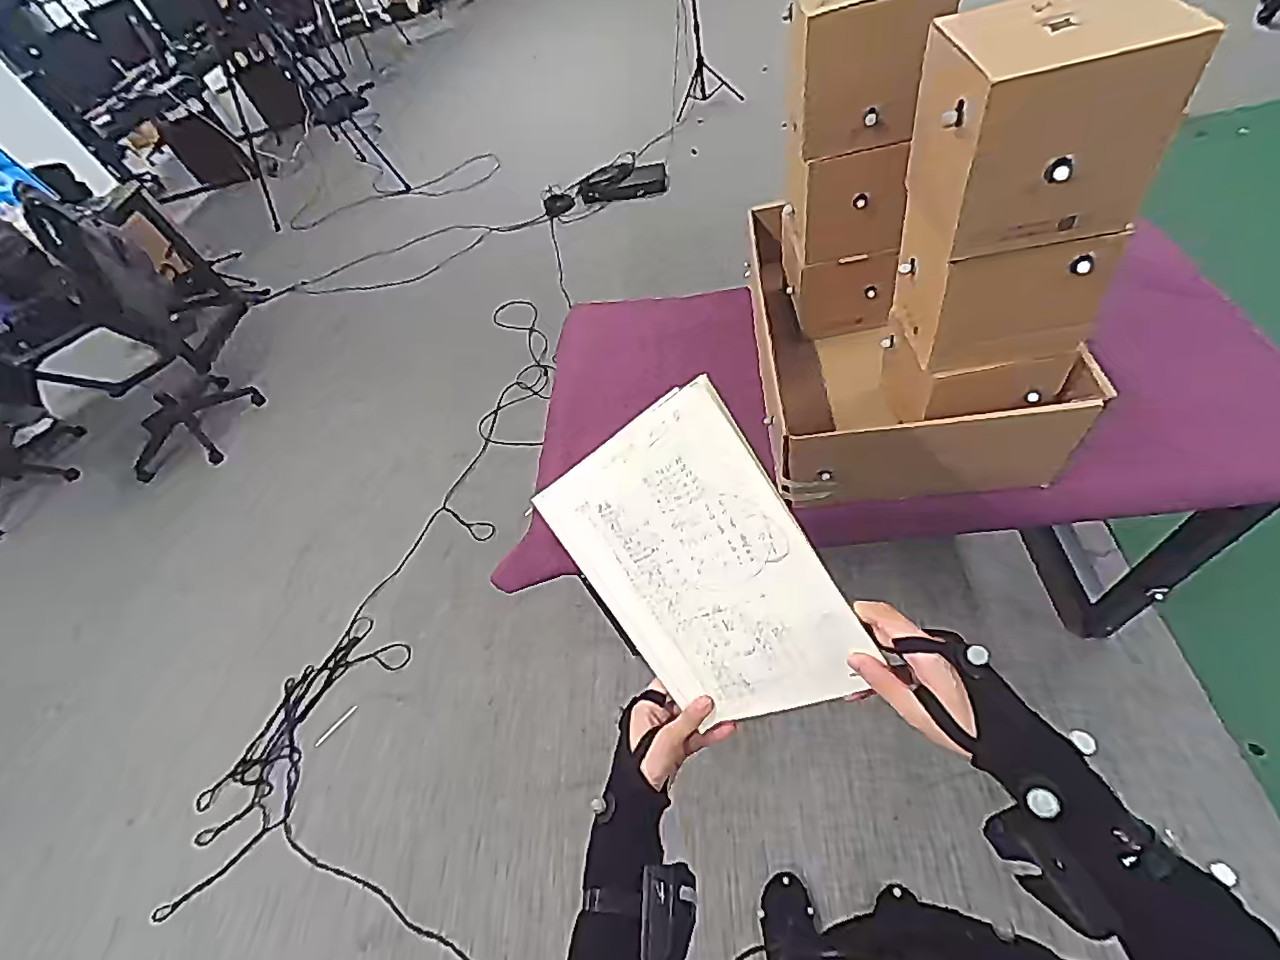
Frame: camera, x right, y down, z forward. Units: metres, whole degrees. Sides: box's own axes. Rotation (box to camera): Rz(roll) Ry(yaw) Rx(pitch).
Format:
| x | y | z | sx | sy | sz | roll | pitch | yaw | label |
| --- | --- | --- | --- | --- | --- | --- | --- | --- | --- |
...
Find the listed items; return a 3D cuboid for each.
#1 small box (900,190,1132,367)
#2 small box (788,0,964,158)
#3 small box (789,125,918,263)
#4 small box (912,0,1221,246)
| x | y | z | sx | sy | sz | roll | pitch | yaw | label |
| --- | --- | --- | --- | --- | --- | --- | --- | --- | --- |
| 0.435 | -0.258 | 0.670 | 0.179 | 0.176 | 0.168 | -6 | 52 | 11 | small box |
| 0.303 | -0.572 | 0.733 | 0.179 | 0.176 | 0.168 | -6 | 54 | 10 | small box |
| 0.339 | -0.476 | 0.861 | 0.179 | 0.176 | 0.168 | -8 | 54 | 9 | small box |
| 0.392 | -0.356 | 0.544 | 0.168 | 0.176 | 0.179 | -6 | 51 | 11 | small box |
